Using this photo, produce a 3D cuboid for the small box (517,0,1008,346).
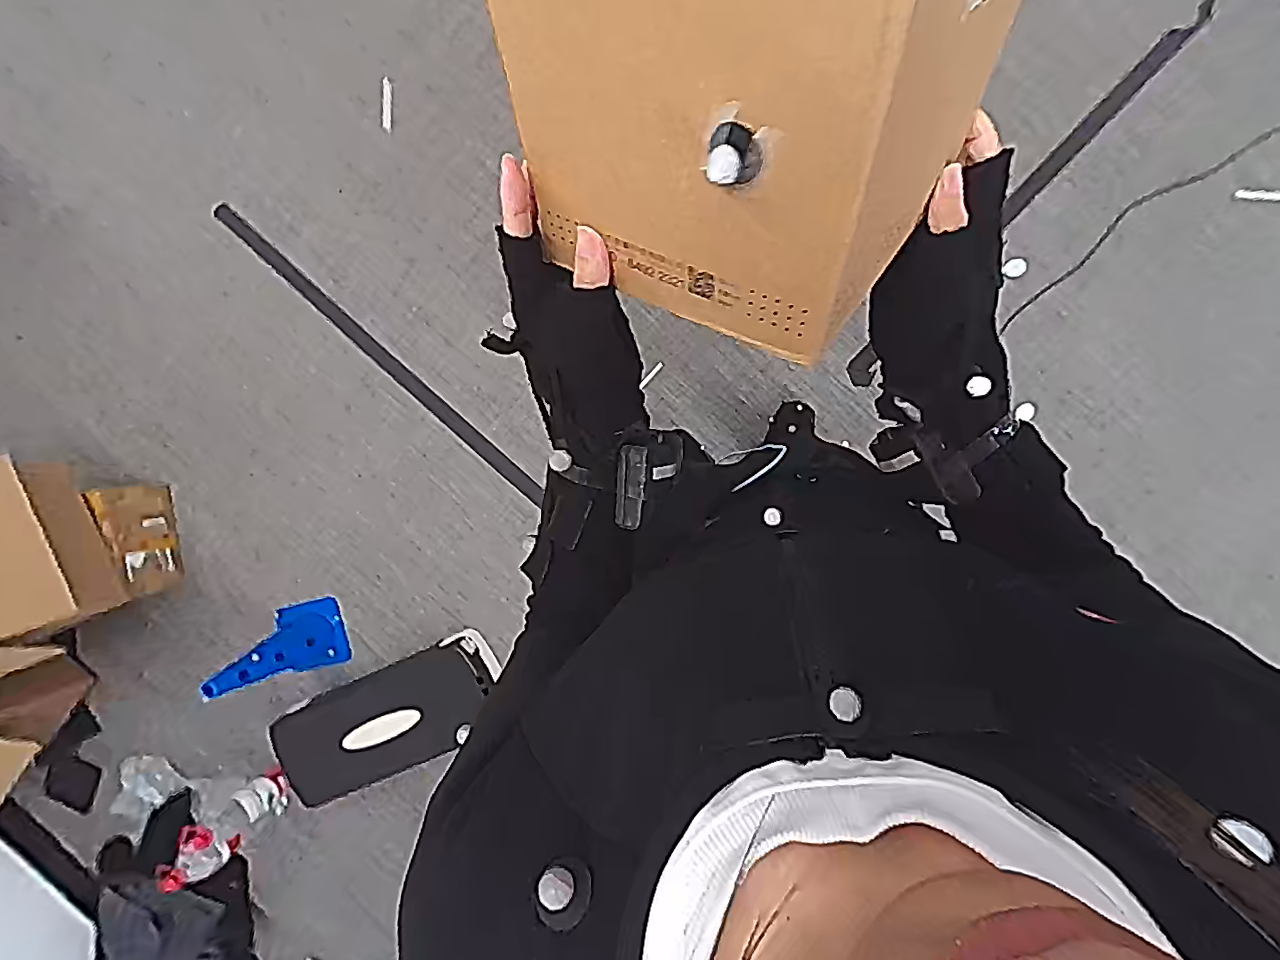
[{"bbox_3d":[0.065,-0.199,0.268,0.168,0.176,0.179,30,64,21],"label":"small box"}]
